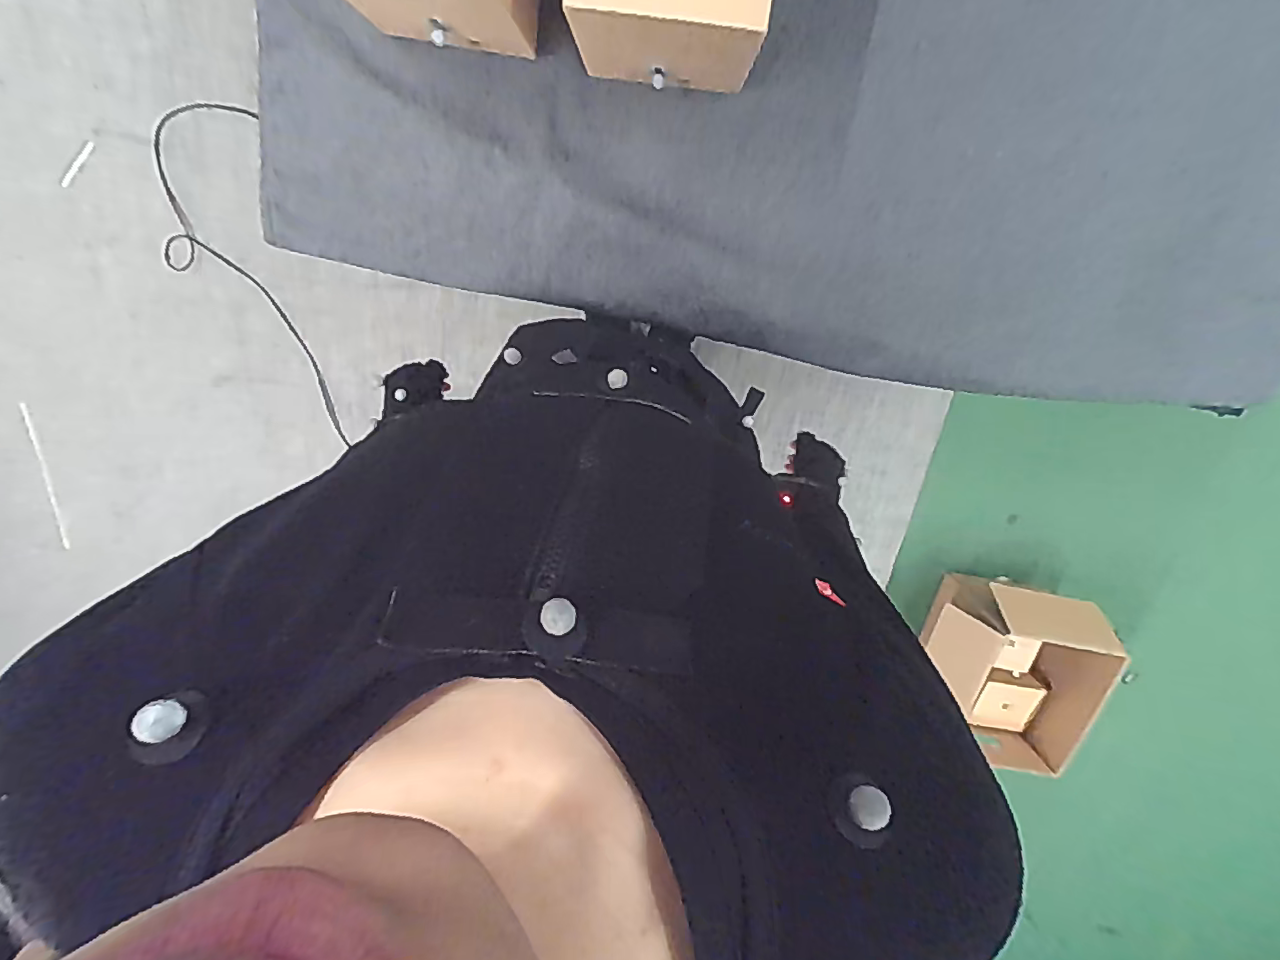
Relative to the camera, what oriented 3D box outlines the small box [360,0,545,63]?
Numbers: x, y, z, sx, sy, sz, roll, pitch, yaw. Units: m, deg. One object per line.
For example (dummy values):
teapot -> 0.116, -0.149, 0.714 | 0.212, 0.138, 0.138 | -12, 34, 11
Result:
small box -> -0.176, -0.509, 0.471 | 0.168, 0.176, 0.179 | 9, 111, -1
